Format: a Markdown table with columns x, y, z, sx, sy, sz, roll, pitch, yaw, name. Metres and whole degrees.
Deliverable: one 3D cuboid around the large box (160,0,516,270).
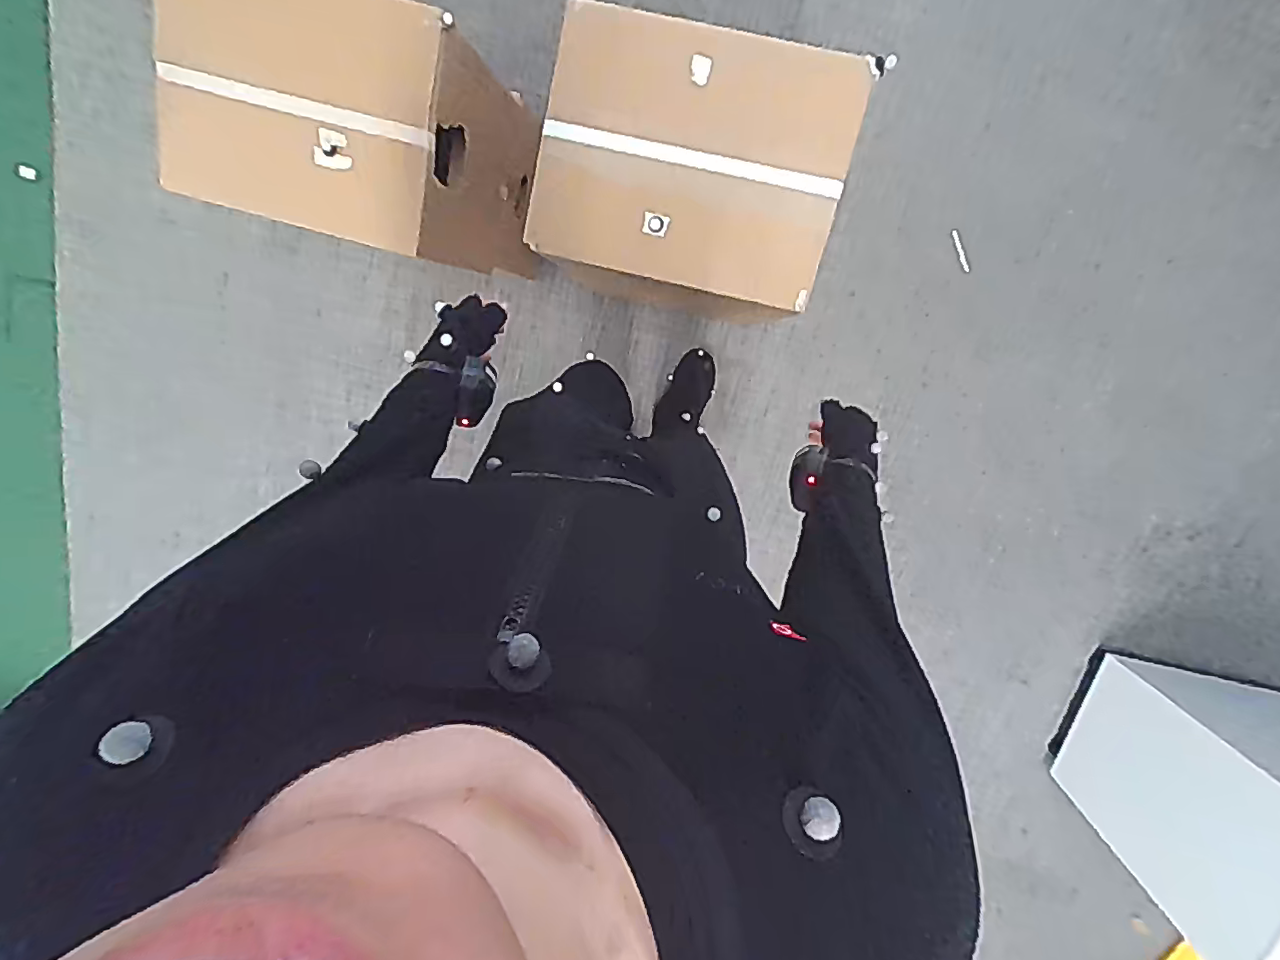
| x | y | z | sx | sy | sz | roll | pitch | yaw | name |
| --- | --- | --- | --- | --- | --- | --- | --- | --- | --- |
| -0.465 | -0.568 | 0.896 | 0.408 | 0.320 | 0.320 | 15 | 107 | 0 | large box |
